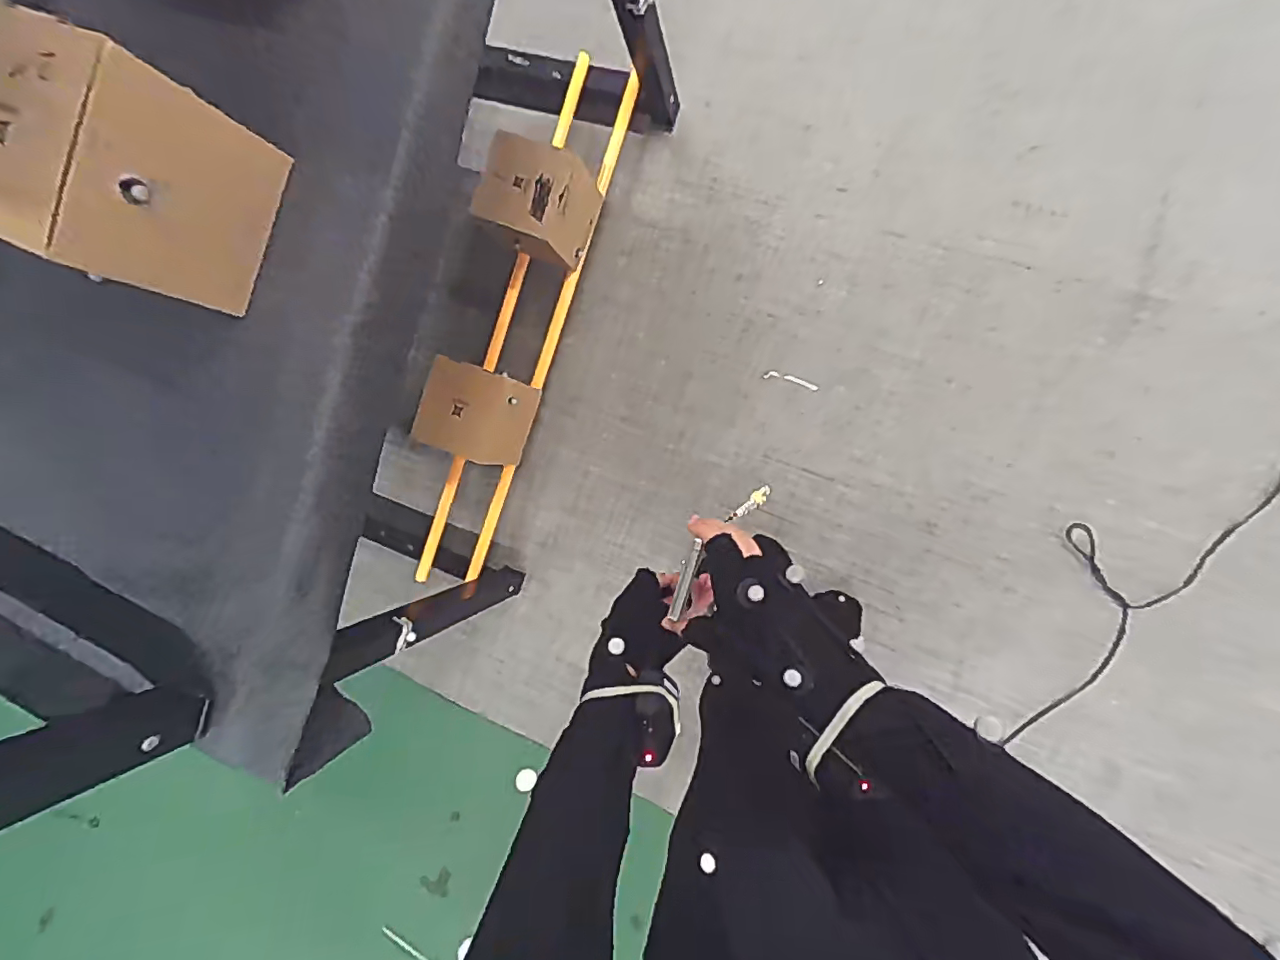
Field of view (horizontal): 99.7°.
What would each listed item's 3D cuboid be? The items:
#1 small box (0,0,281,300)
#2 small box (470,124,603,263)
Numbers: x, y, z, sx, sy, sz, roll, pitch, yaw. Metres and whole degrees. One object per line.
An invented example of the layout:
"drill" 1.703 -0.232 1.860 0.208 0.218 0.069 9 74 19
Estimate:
"small box" -0.478 -0.290 0.499 0.168 0.176 0.179 24 96 12
"small box" -0.195 -0.552 1.067 0.179 0.176 0.168 24 96 12
